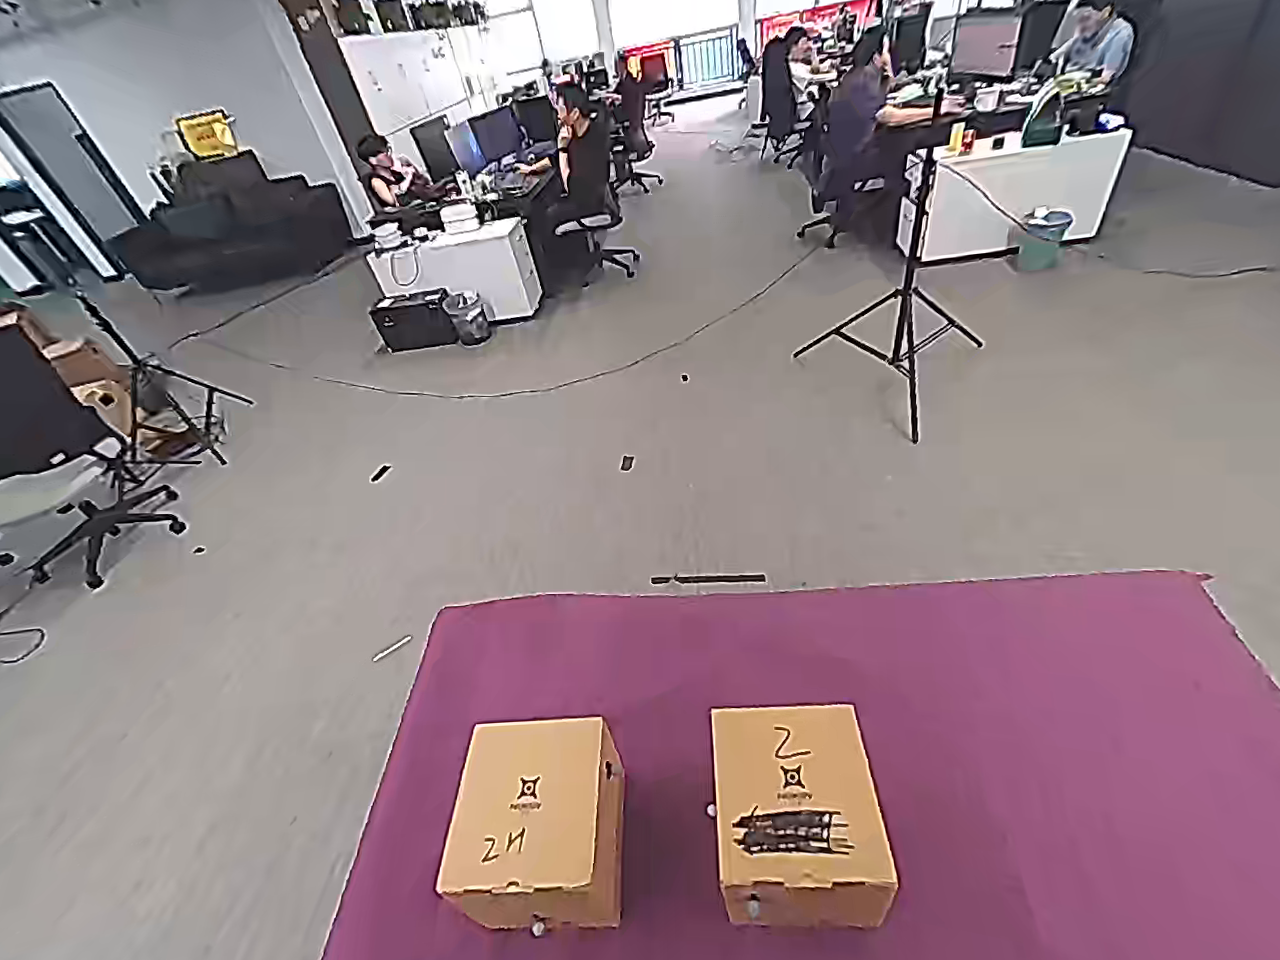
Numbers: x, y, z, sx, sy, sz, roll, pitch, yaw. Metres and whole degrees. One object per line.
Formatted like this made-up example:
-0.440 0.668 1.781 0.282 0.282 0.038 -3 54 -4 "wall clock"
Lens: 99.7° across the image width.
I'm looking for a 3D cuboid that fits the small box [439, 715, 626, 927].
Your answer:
-0.111 0.410 0.653 0.168 0.176 0.179 -6 41 6 "small box"
